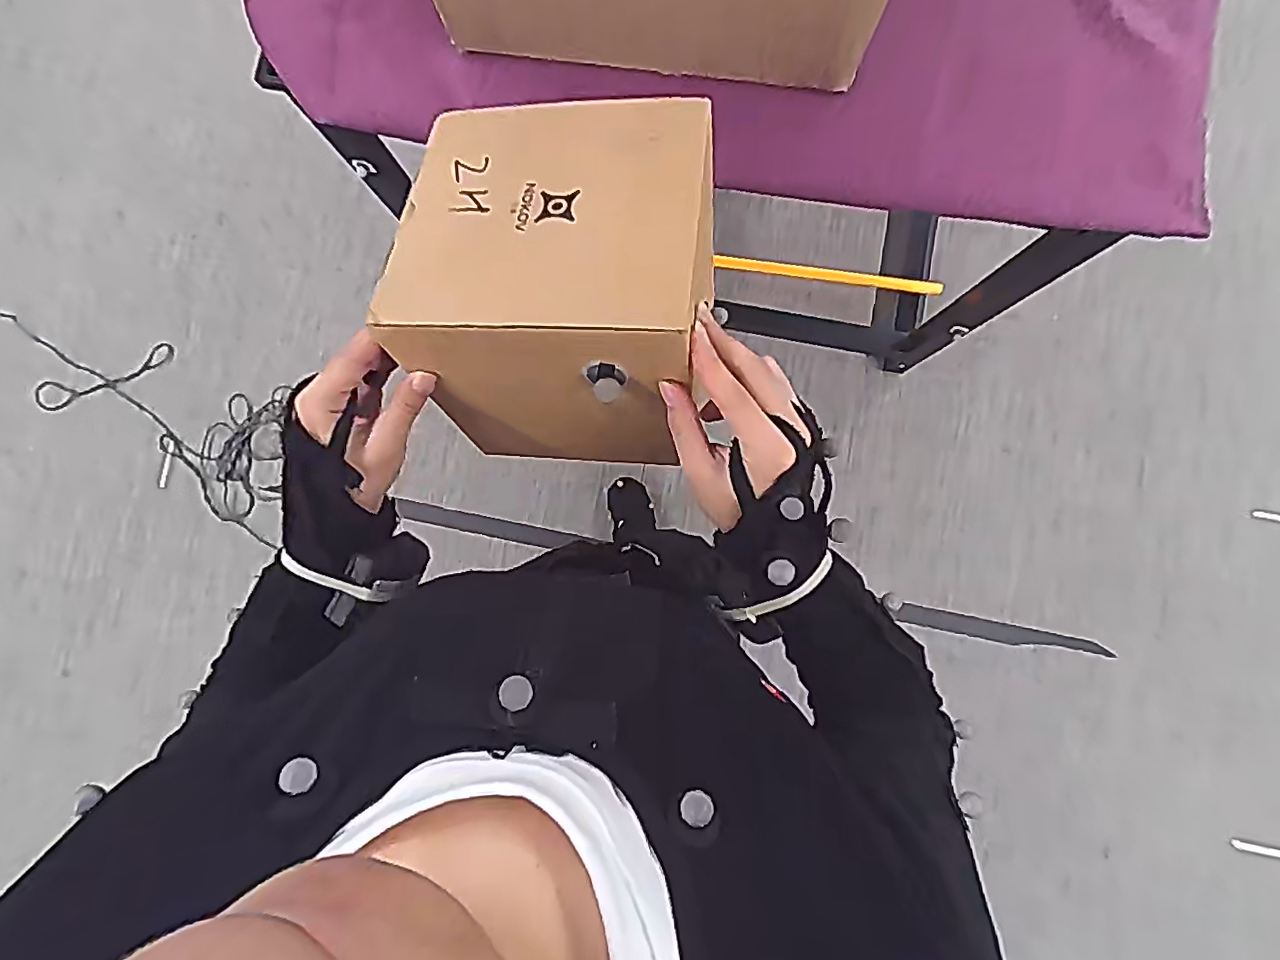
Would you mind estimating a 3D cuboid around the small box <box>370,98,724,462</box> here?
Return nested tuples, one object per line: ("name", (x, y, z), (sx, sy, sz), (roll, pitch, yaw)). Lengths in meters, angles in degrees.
("small box", (-0.037, -0.121, 0.371), (0.179, 0.176, 0.168), (4, 68, 10))
